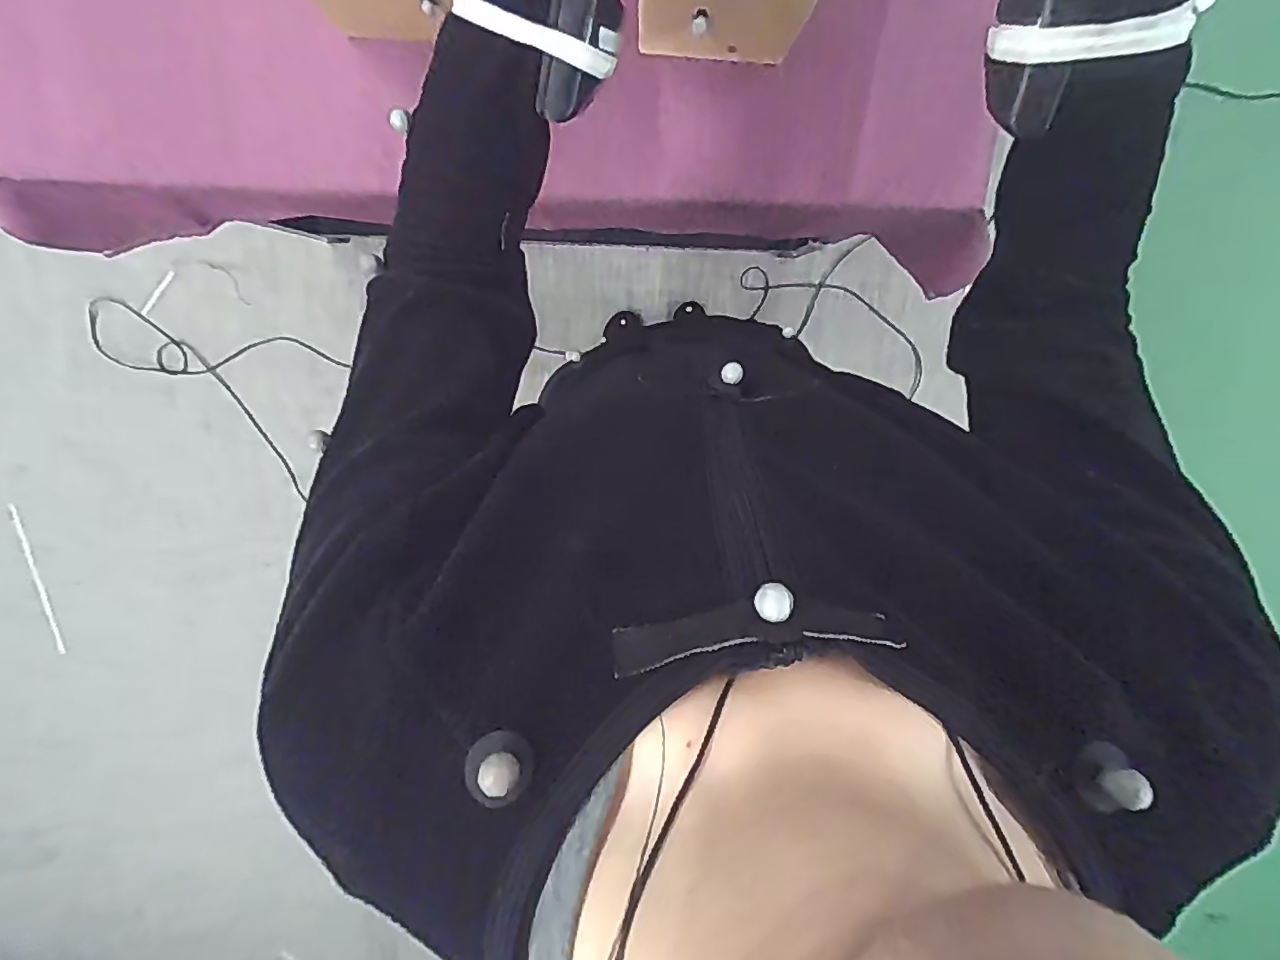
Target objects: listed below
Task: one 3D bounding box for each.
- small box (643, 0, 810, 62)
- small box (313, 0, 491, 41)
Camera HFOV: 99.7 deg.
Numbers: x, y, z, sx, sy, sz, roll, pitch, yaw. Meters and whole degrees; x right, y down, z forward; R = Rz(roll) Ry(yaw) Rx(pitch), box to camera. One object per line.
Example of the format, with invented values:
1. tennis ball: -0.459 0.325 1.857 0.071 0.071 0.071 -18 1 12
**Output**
1. small box: 0.090 -0.545 0.524 0.168 0.176 0.179 3 105 -2
2. small box: -0.245 -0.557 0.516 0.179 0.176 0.168 2 105 -1
